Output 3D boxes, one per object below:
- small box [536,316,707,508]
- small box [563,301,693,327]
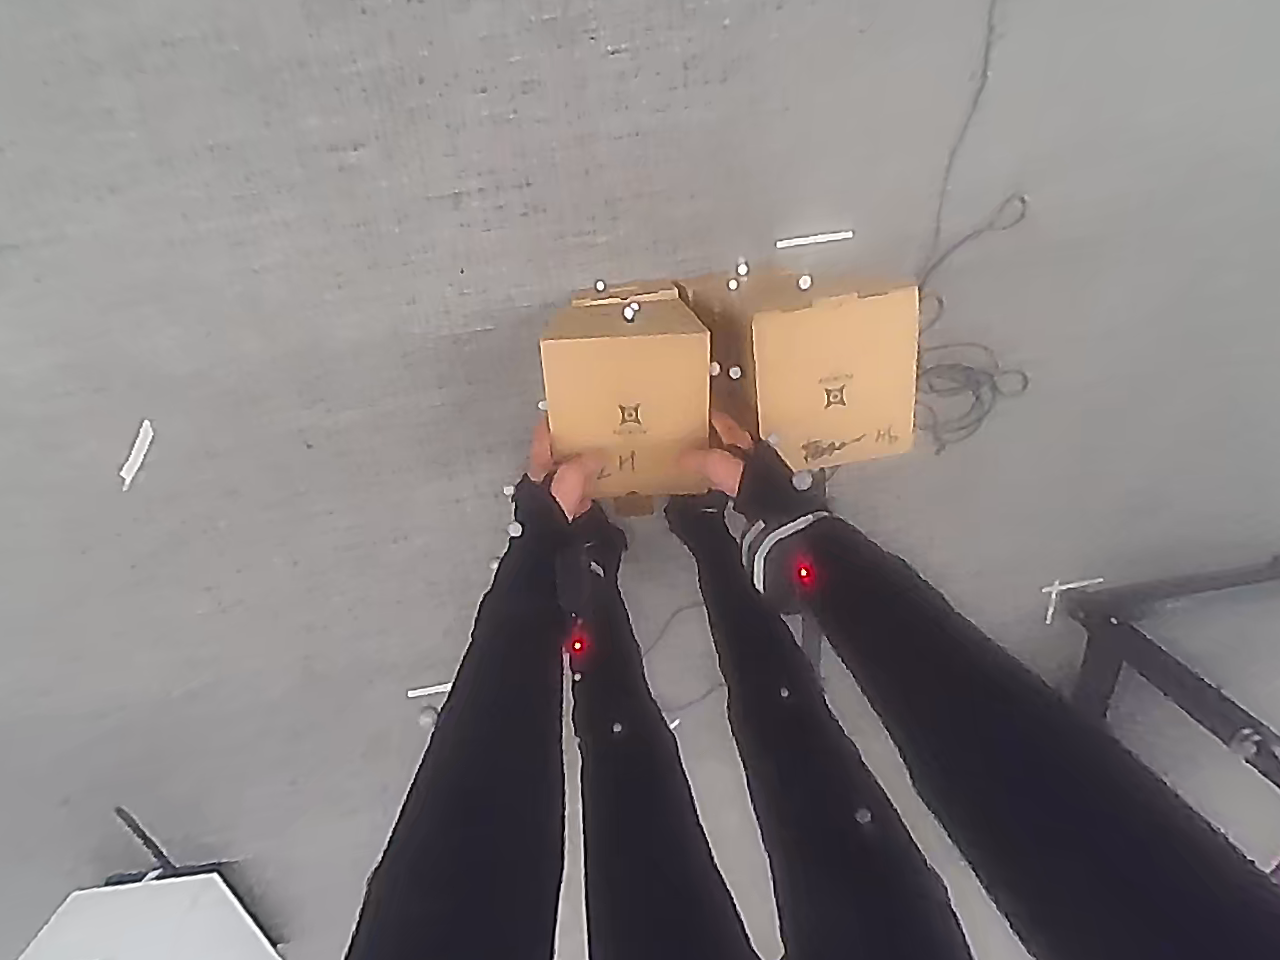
[{"bbox_3d":[-0.018,-0.087,0.614,0.168,0.176,0.179,-3,116,0],"label":"small box"},{"bbox_3d":[-0.020,-0.154,0.766,0.179,0.176,0.168,-5,115,0],"label":"small box"}]
